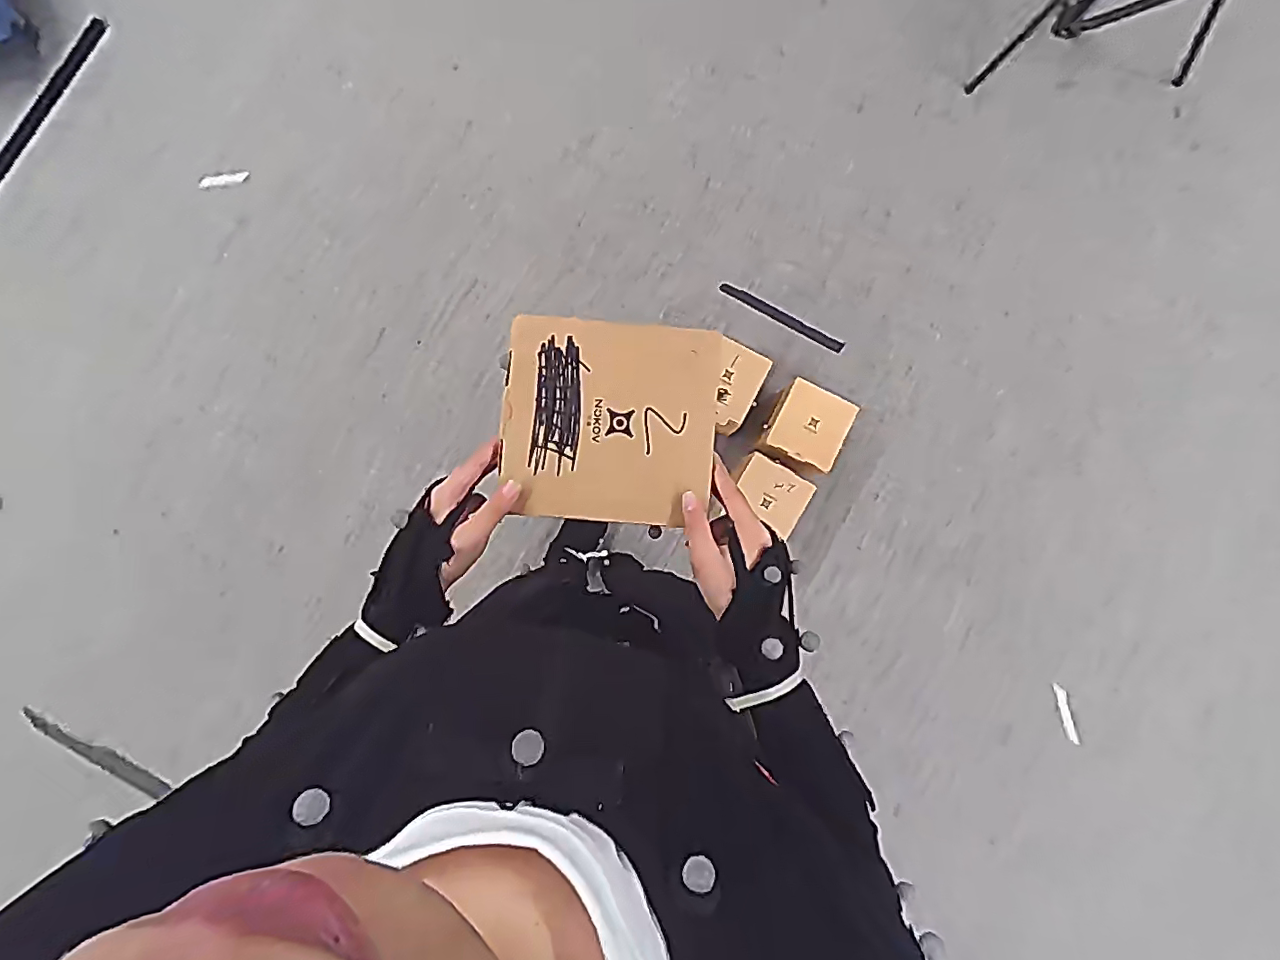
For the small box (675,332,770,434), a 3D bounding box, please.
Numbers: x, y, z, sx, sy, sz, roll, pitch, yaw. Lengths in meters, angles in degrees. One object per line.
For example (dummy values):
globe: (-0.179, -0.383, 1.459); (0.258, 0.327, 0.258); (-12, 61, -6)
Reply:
small box: (0.197, -0.231, 1.345); (0.168, 0.176, 0.179); (28, 85, 1)
